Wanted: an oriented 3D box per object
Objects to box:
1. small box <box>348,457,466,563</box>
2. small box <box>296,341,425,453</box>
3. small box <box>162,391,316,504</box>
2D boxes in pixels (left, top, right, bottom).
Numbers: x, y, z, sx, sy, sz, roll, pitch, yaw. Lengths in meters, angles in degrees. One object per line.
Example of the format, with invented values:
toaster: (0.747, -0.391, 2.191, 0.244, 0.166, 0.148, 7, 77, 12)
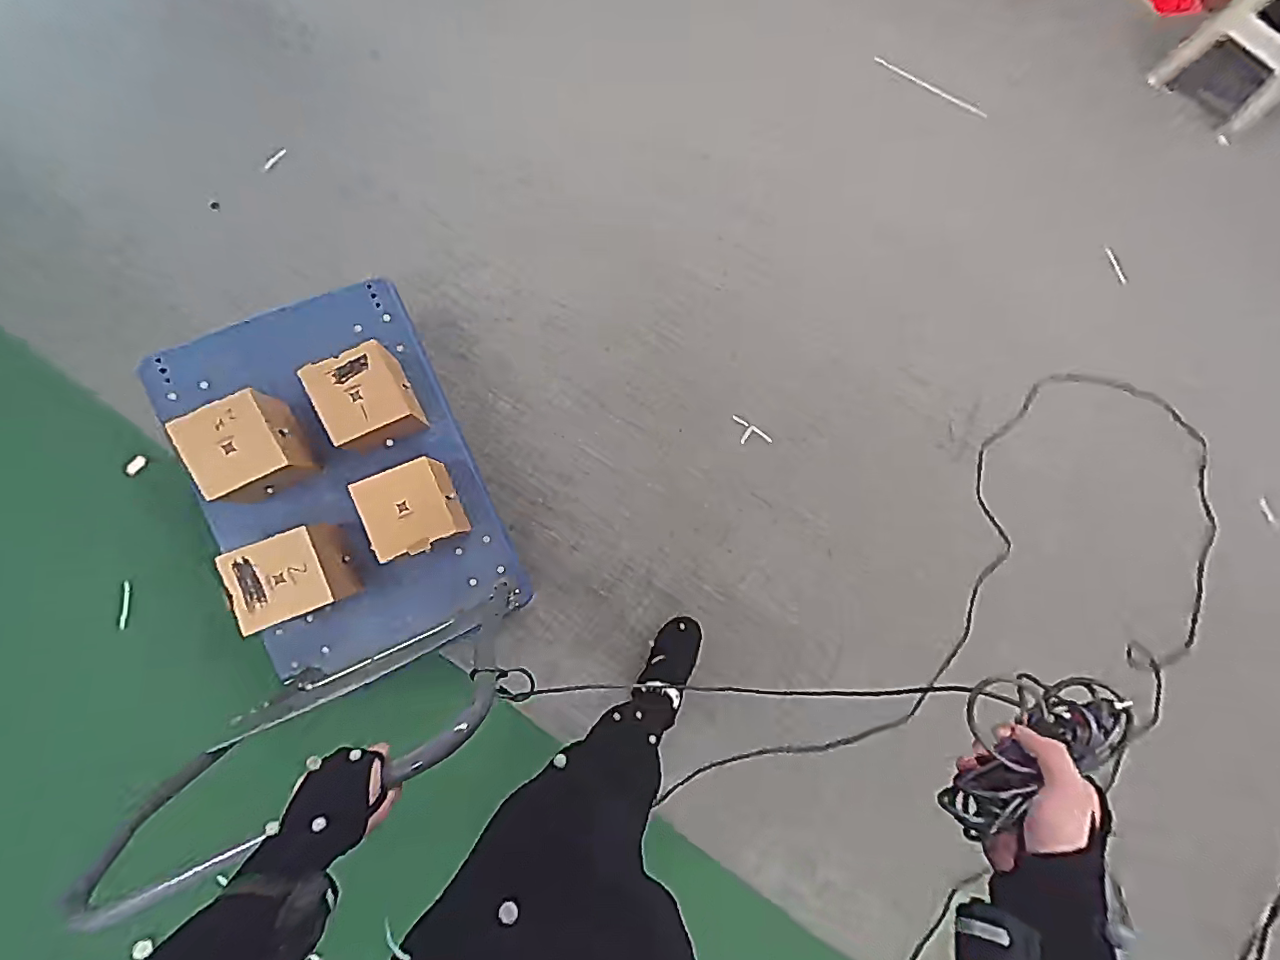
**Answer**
small box: (-0.499, 0.066, 1.180, 0.168, 0.176, 0.179, -23, 91, -10)
small box: (-0.597, -0.173, 1.178, 0.168, 0.176, 0.179, -26, 92, -9)
small box: (-0.825, -0.062, 1.135, 0.168, 0.176, 0.179, -28, 91, -10)
